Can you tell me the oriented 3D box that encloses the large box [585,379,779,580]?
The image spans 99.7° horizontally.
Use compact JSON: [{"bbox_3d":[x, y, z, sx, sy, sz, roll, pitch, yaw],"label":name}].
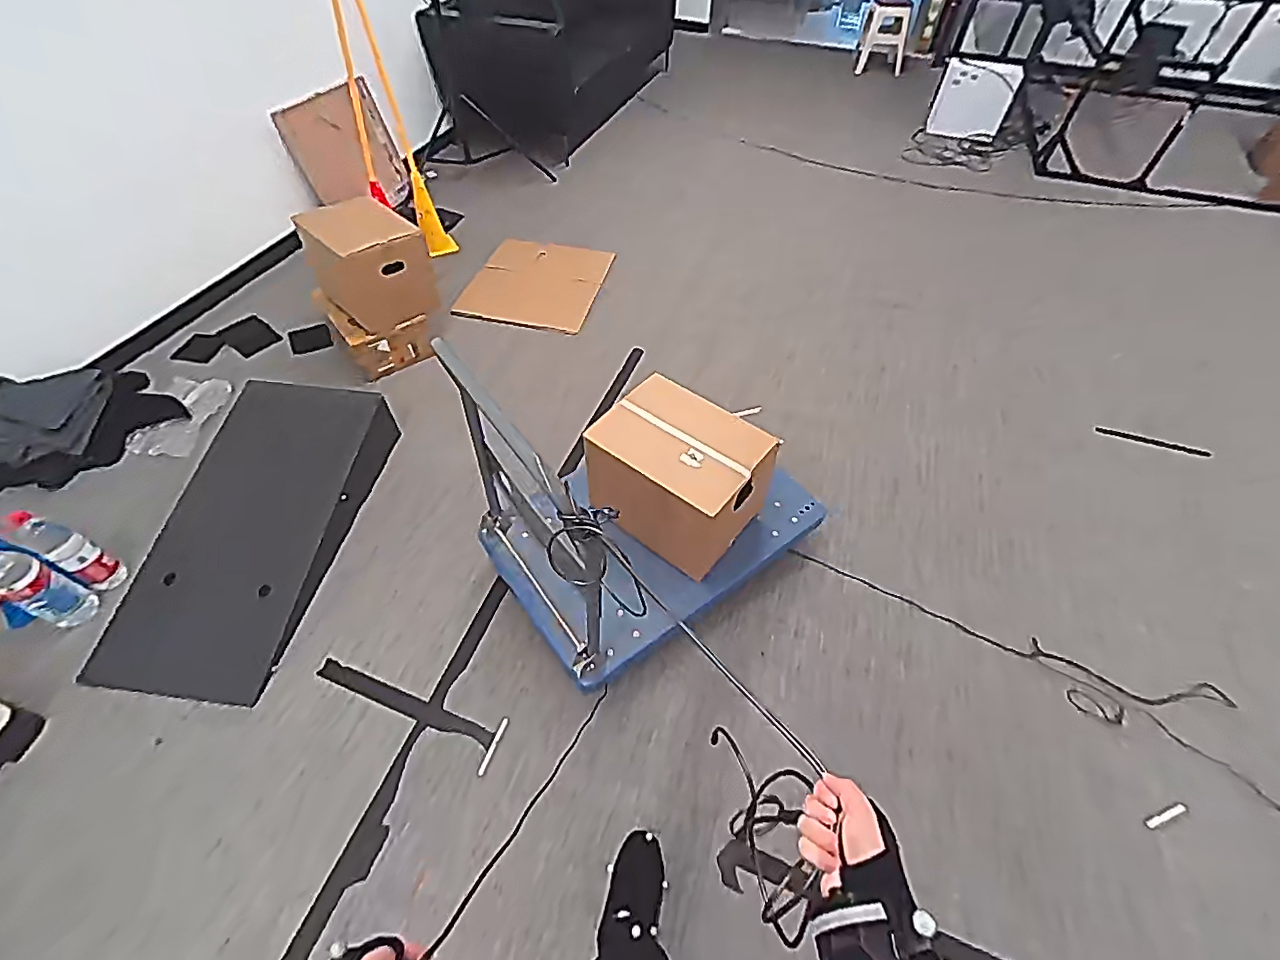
[{"bbox_3d":[0.101,-0.005,1.482,0.408,0.320,0.320,33,58,21],"label":"large box"}]
